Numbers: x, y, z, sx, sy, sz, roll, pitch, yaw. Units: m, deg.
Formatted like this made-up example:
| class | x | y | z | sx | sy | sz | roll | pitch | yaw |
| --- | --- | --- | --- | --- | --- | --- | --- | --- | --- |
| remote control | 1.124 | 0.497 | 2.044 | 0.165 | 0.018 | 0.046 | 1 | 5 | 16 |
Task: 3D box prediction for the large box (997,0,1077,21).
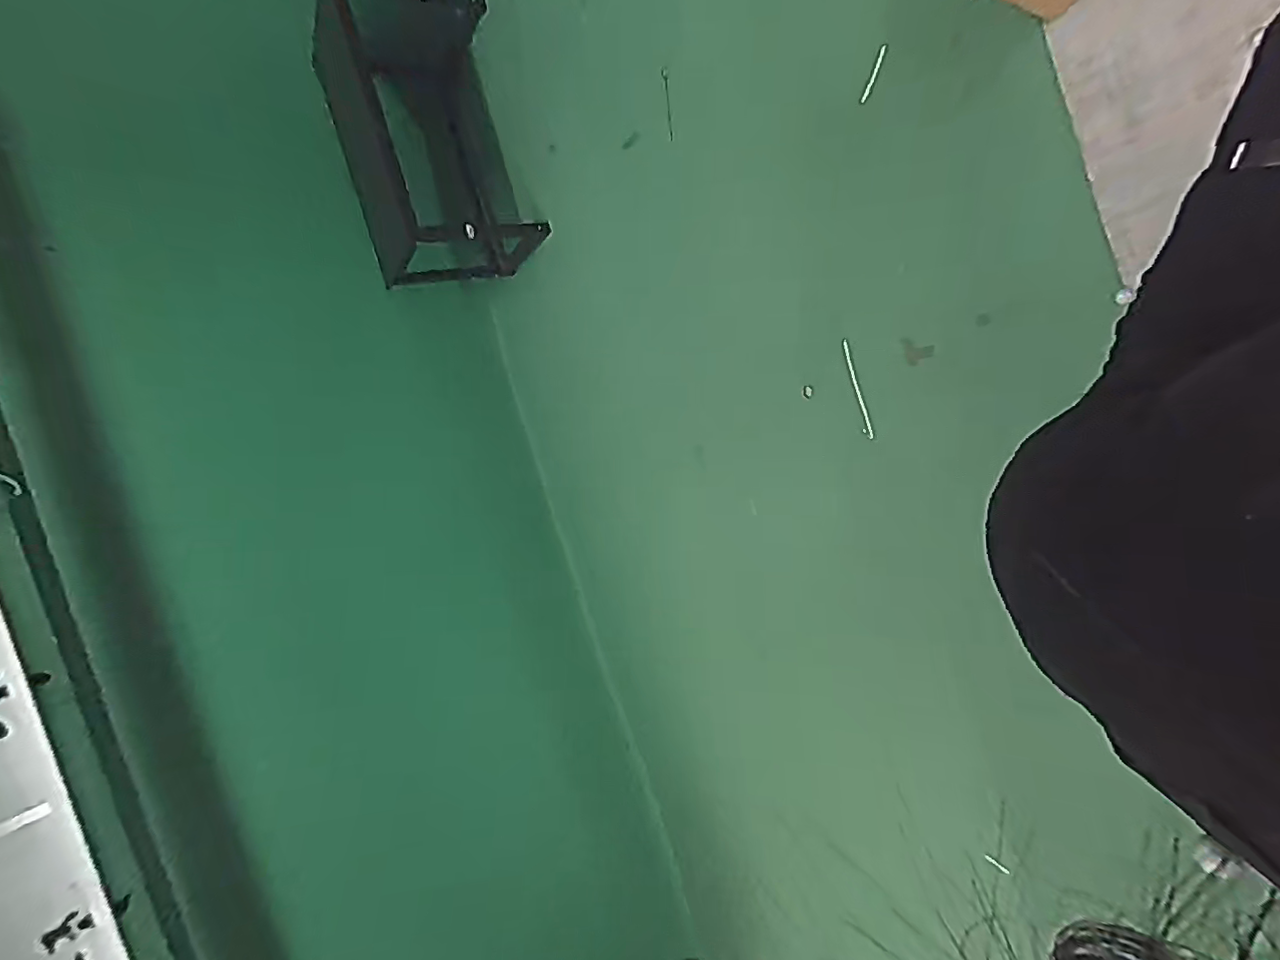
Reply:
| class | x | y | z | sx | sy | sz | roll | pitch | yaw |
| --- | --- | --- | --- | --- | --- | --- | --- | --- | --- |
| large box | 0.748 | -1.100 | 0.892 | 0.320 | 0.320 | 0.408 | 64 | 147 | 11 |
